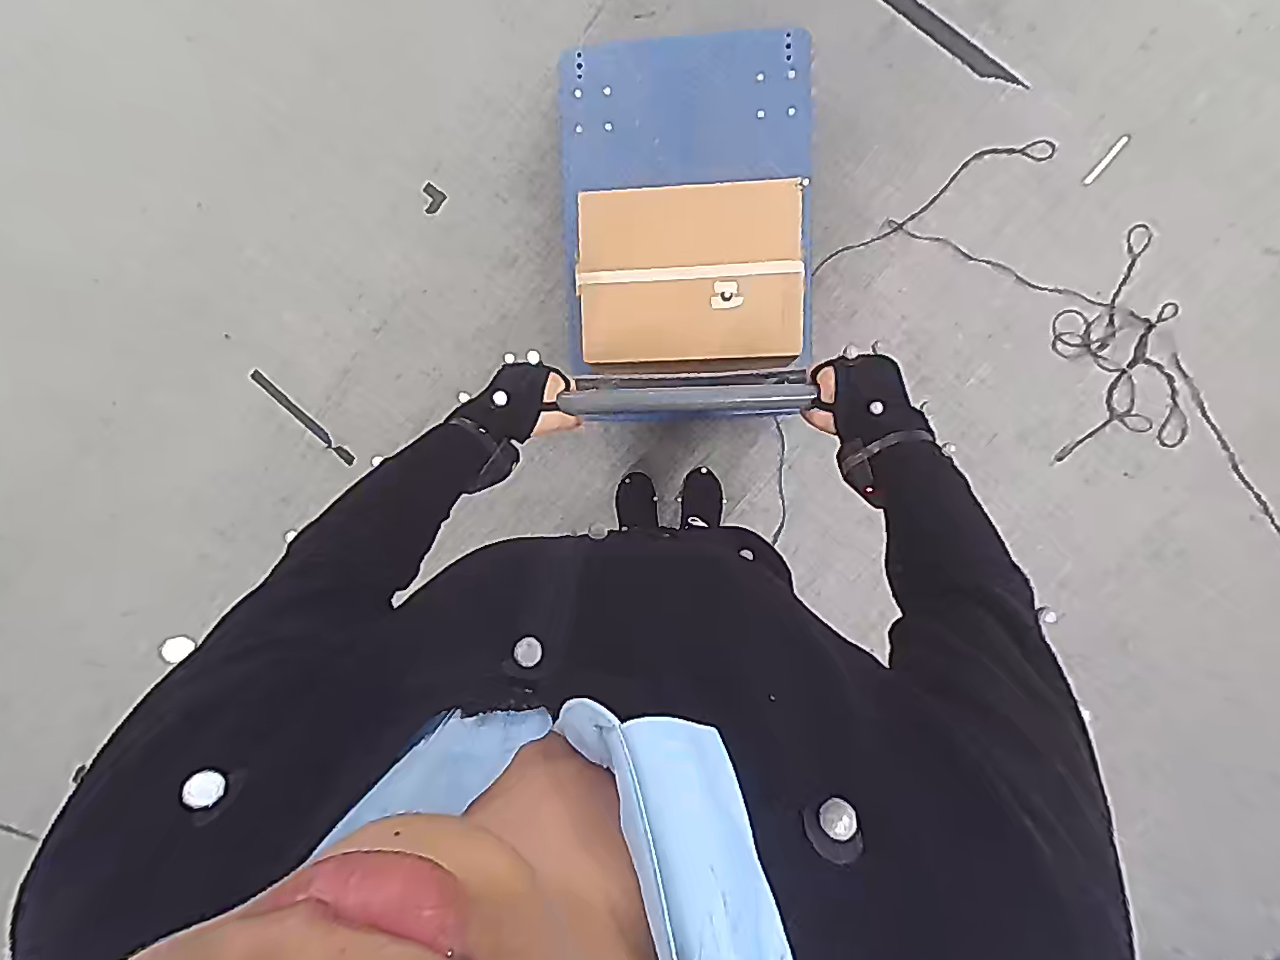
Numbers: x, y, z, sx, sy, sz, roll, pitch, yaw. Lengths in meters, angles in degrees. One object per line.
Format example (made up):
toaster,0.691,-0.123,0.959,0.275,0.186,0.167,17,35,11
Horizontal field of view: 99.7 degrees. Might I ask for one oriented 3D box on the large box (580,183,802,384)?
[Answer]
large box,0.101,-0.382,1.140,0.408,0.320,0.320,-2,94,4
